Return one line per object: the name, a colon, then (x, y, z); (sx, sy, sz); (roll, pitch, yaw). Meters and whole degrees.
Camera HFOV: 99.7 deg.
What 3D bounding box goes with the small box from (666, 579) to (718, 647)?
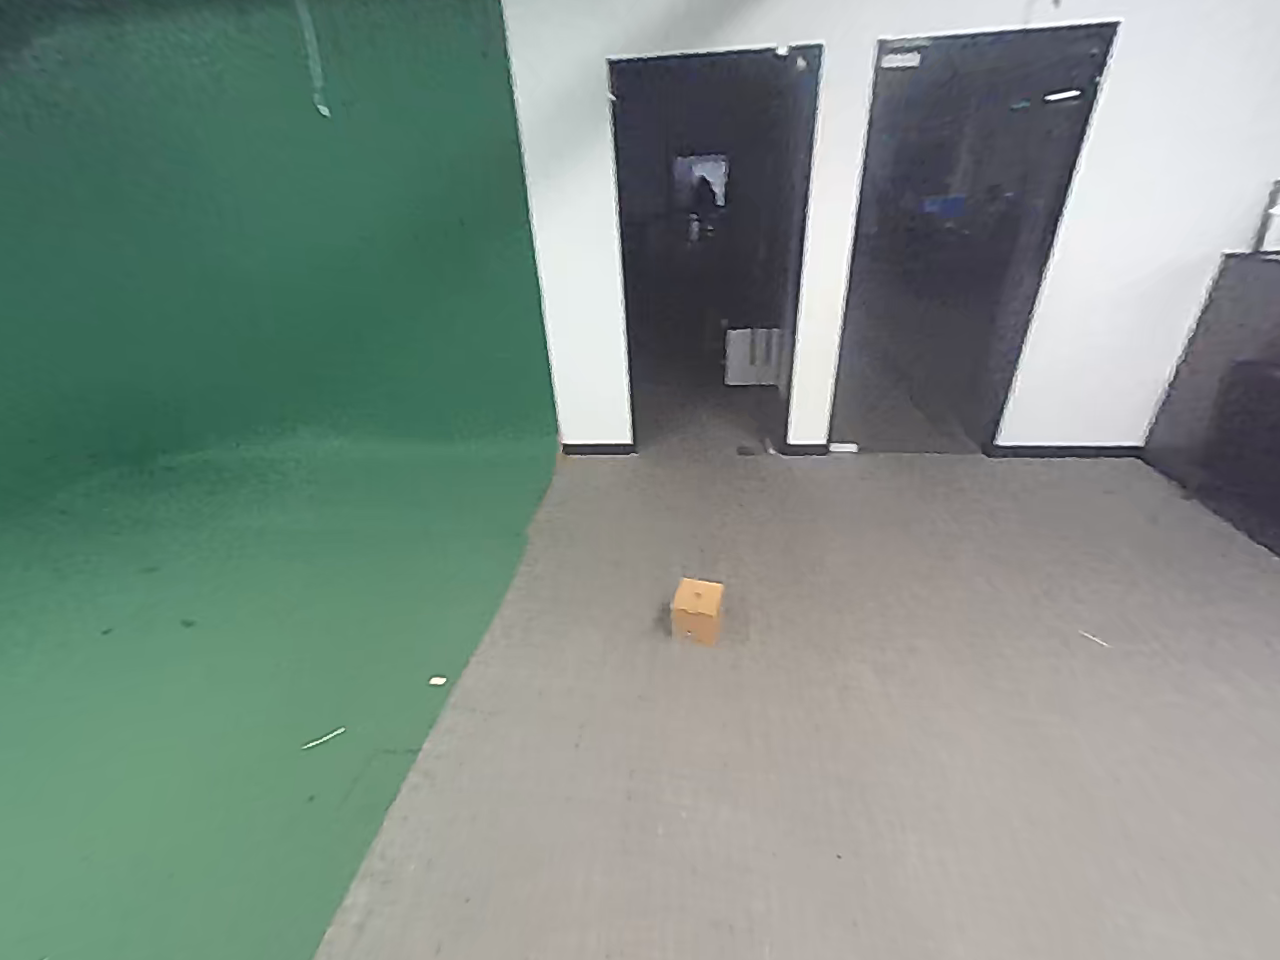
small box: (0.200, 0.511, 2.086); (0.168, 0.176, 0.179); (7, 31, 16)
